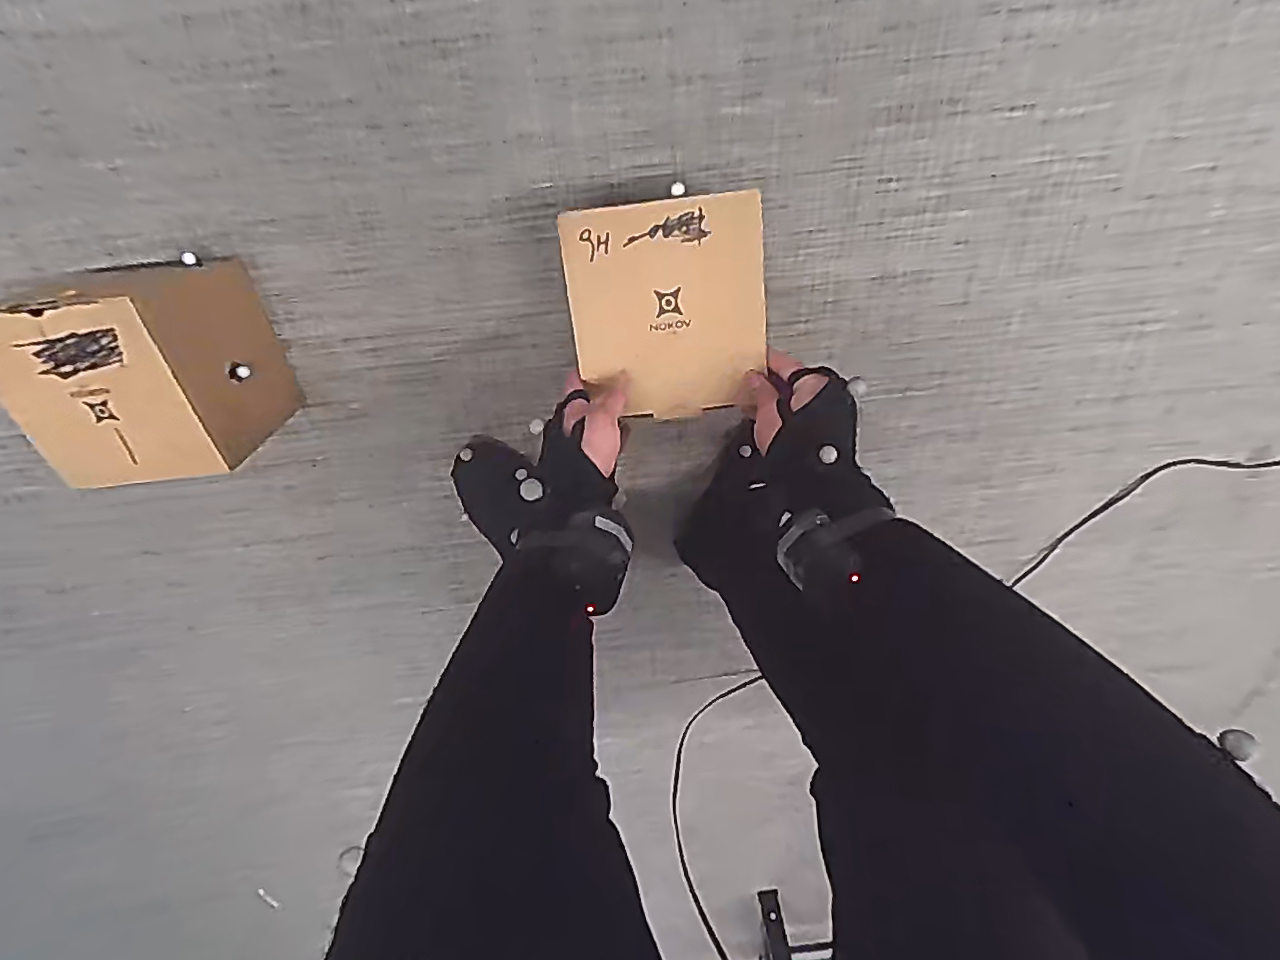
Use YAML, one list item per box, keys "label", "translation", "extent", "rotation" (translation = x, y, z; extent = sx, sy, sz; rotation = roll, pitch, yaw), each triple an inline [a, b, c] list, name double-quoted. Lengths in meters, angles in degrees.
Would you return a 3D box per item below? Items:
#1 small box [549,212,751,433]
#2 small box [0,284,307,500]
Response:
- label: "small box"
  translation: [0.016, -0.159, 0.547]
  extent: [0.168, 0.176, 0.179]
  rotation: [-6, 110, 3]
- label: "small box"
  translation: [-0.506, -0.103, 0.582]
  extent: [0.168, 0.176, 0.179]
  rotation: [-6, 124, 1]
